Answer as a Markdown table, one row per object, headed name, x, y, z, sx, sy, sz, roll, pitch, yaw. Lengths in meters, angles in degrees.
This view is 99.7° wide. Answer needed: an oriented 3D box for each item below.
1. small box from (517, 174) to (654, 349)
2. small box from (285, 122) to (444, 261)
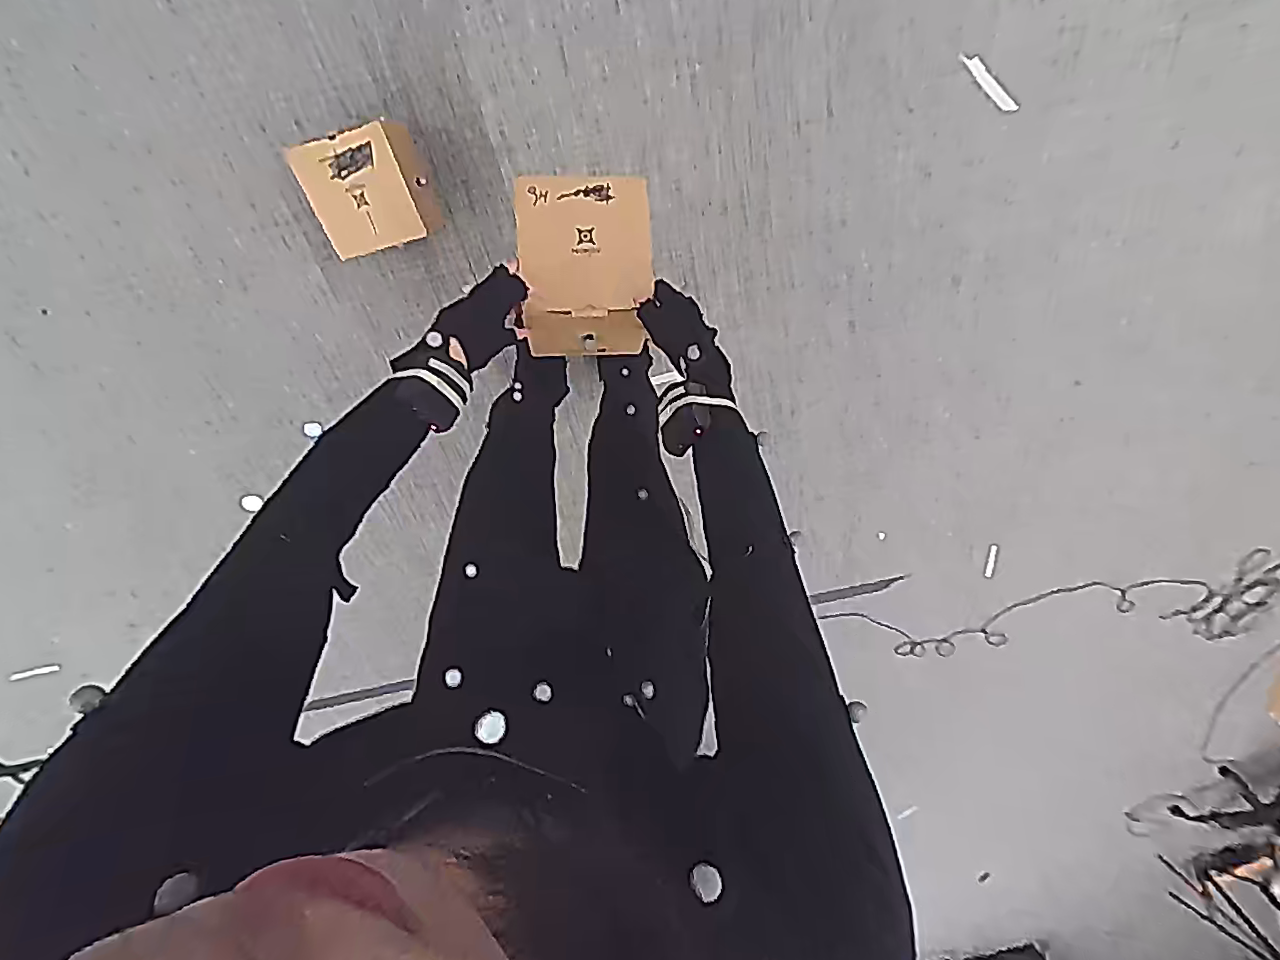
| name | x | y | z | sx | sy | sz | roll | pitch | yaw |
| --- | --- | --- | --- | --- | --- | --- | --- | --- | --- |
| small box | -0.074 | -0.284 | 0.740 | 0.168 | 0.176 | 0.179 | -3 | 86 | -7 |
| small box | -0.472 | -0.512 | 0.958 | 0.168 | 0.176 | 0.179 | -14 | 124 | 2 |
